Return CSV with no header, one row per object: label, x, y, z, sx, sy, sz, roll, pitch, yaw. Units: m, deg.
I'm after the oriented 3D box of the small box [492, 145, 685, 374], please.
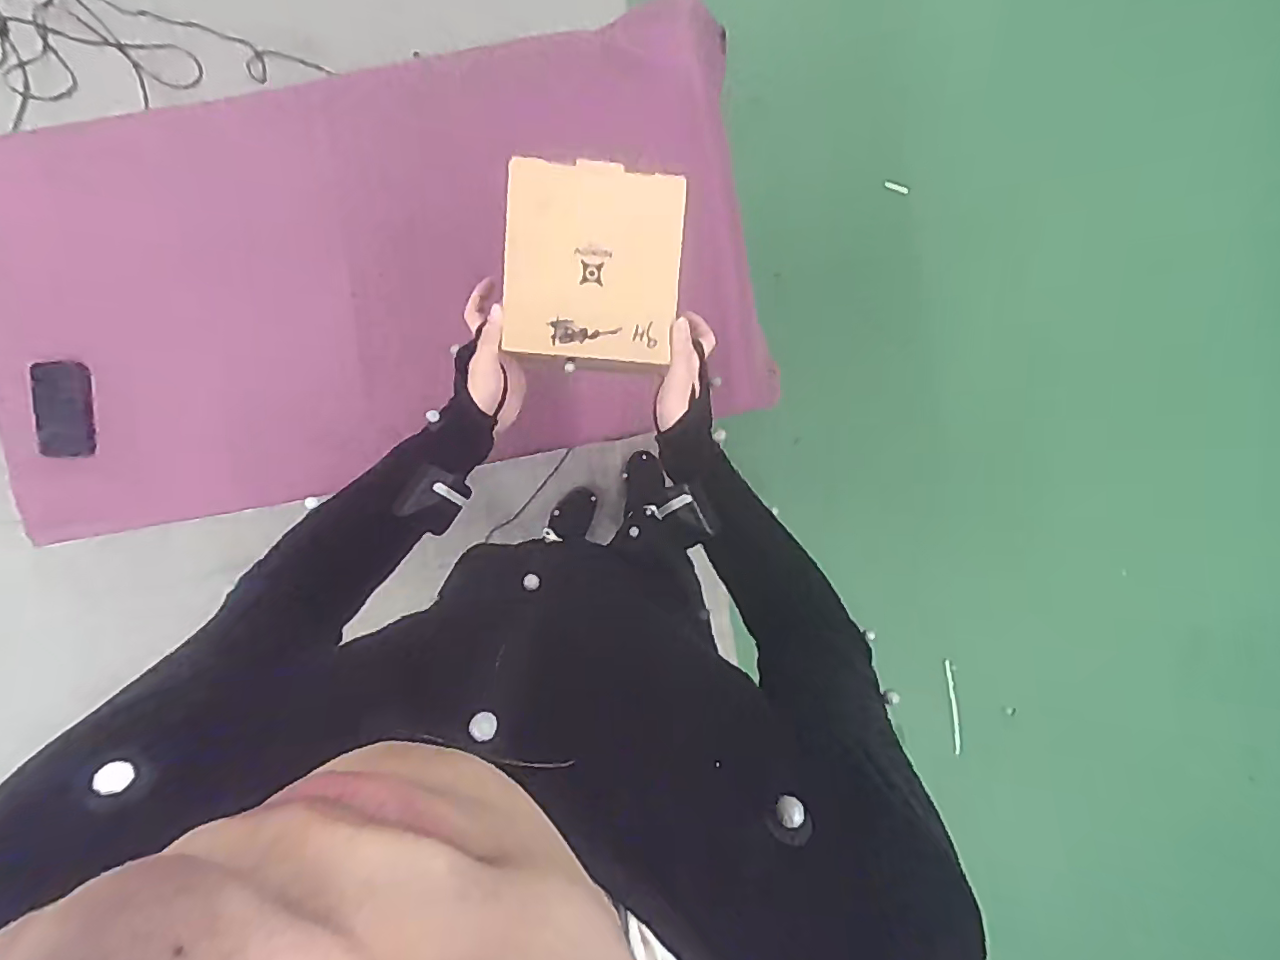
small box,-0.054,-0.213,0.570,0.168,0.176,0.179,4,97,-5
